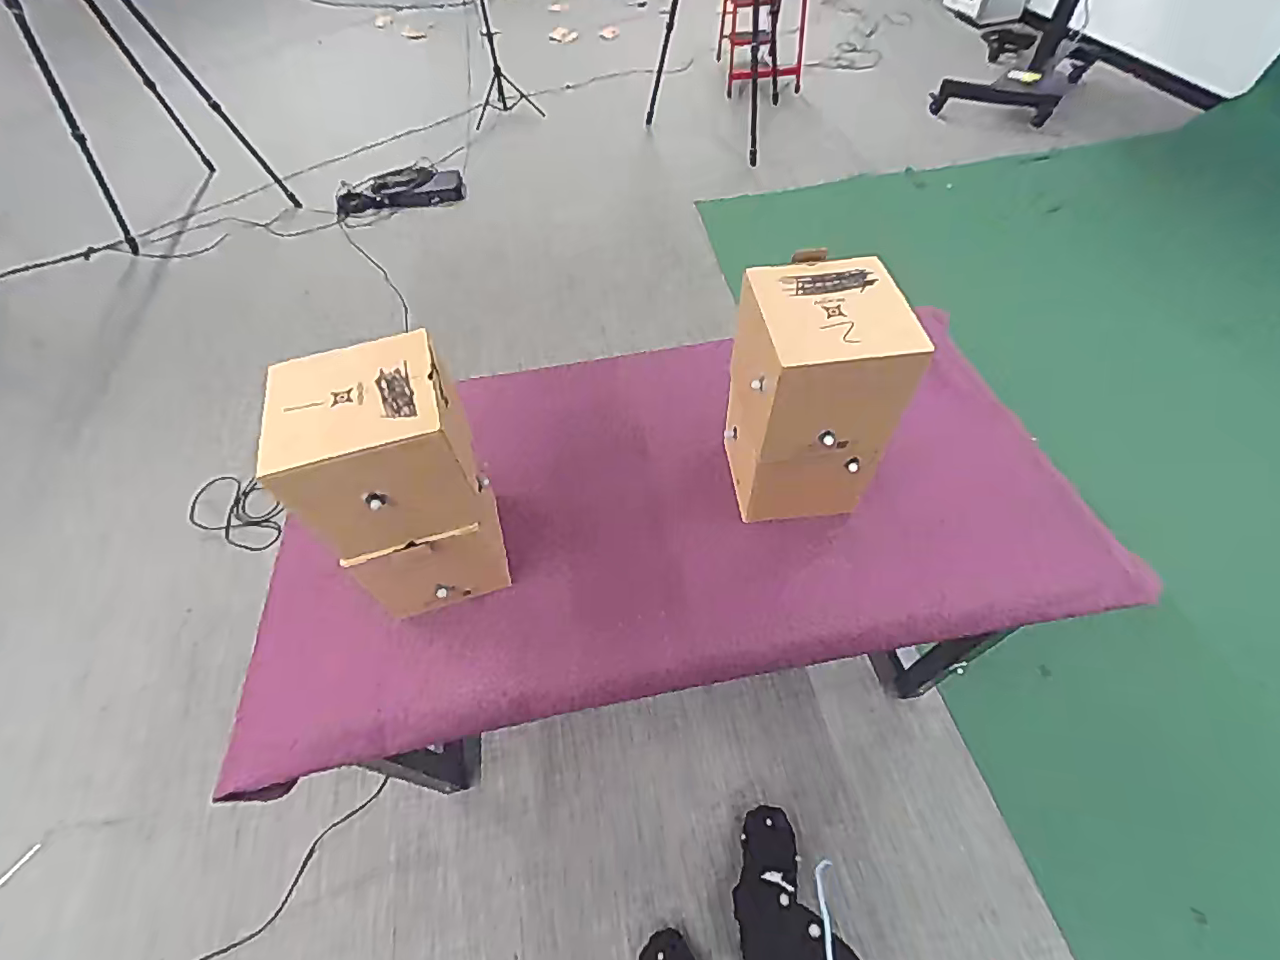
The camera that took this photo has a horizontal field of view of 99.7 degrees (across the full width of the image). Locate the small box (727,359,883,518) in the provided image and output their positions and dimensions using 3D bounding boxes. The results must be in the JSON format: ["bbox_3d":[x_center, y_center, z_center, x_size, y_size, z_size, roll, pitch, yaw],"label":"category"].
[{"bbox_3d":[0.229,-0.056,0.810,0.179,0.176,0.168,-6,54,-1],"label":"small box"}]

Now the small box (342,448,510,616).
[{"bbox_3d":[-0.292,0.063,0.758,0.168,0.176,0.179,-16,55,-7],"label":"small box"}]

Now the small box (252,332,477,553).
[{"bbox_3d":[-0.296,-0.040,0.626,0.179,0.176,0.168,-14,53,-6],"label":"small box"}]
